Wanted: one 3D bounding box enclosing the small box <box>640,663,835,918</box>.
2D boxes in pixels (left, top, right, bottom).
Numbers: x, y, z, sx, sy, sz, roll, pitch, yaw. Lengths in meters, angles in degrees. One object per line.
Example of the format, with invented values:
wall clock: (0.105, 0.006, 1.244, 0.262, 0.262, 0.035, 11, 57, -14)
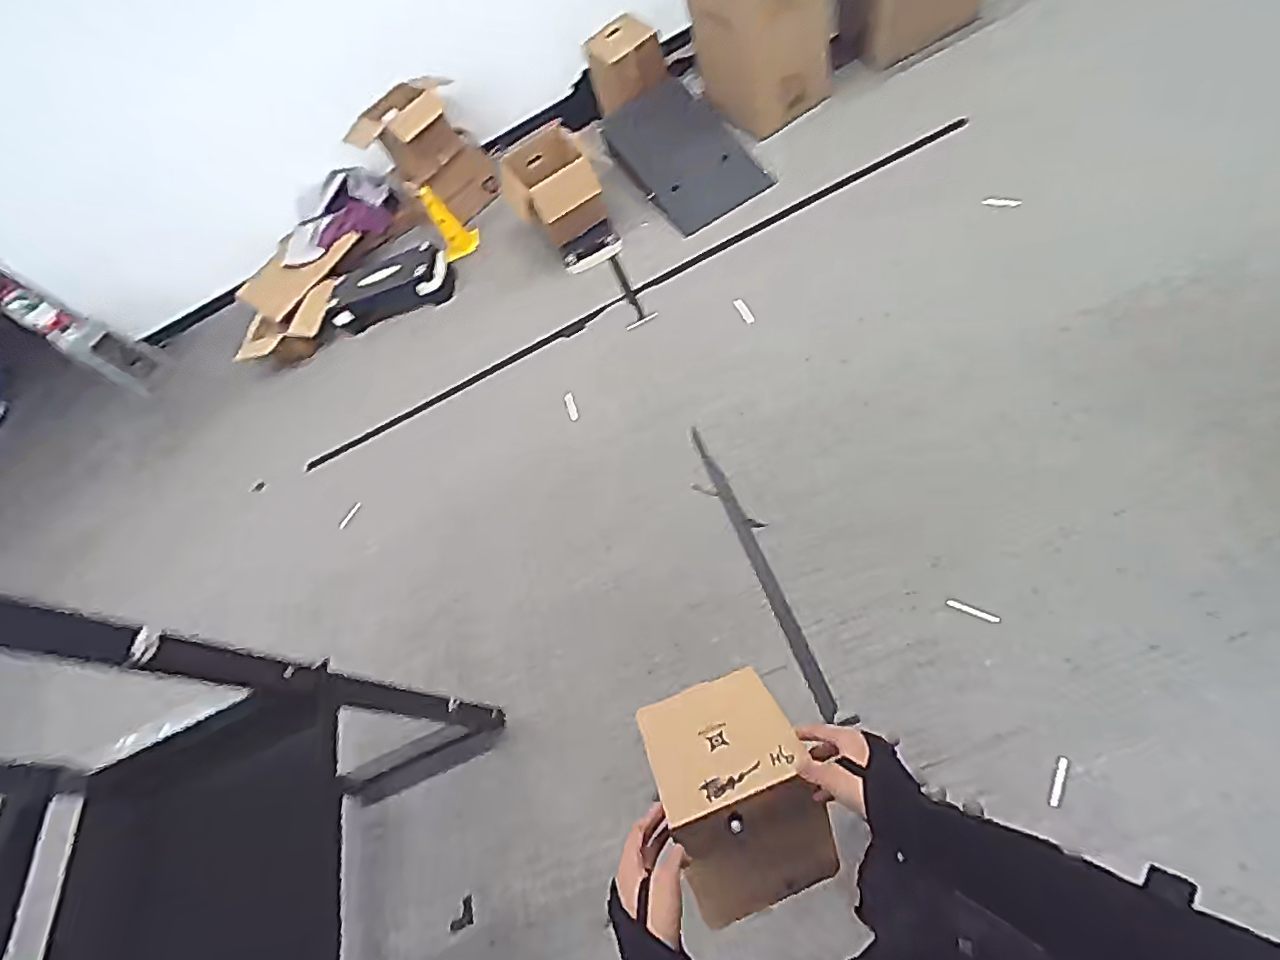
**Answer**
small box: (0.112, 0.364, 0.654, 0.168, 0.176, 0.179, -19, 20, -5)
